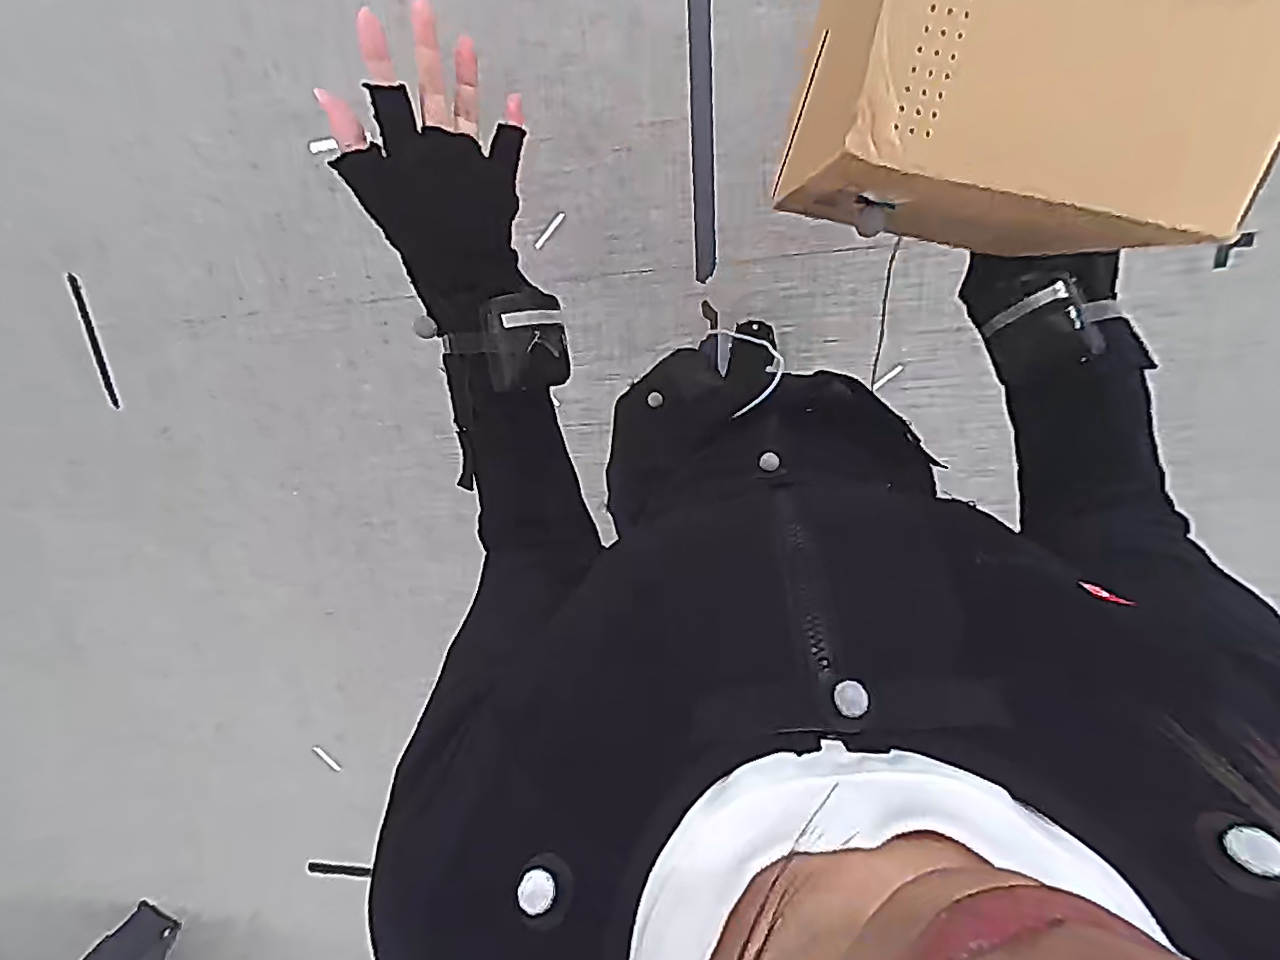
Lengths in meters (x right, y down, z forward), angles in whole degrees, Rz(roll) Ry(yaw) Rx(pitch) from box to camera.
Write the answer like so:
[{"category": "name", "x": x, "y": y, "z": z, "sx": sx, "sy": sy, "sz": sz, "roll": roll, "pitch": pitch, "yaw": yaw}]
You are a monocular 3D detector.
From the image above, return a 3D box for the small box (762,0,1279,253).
[{"category": "small box", "x": 0.173, "y": -0.227, "z": 0.273, "sx": 0.176, "sy": 0.168, "sz": 0.179, "roll": 12, "pitch": 110, "yaw": 0}]
